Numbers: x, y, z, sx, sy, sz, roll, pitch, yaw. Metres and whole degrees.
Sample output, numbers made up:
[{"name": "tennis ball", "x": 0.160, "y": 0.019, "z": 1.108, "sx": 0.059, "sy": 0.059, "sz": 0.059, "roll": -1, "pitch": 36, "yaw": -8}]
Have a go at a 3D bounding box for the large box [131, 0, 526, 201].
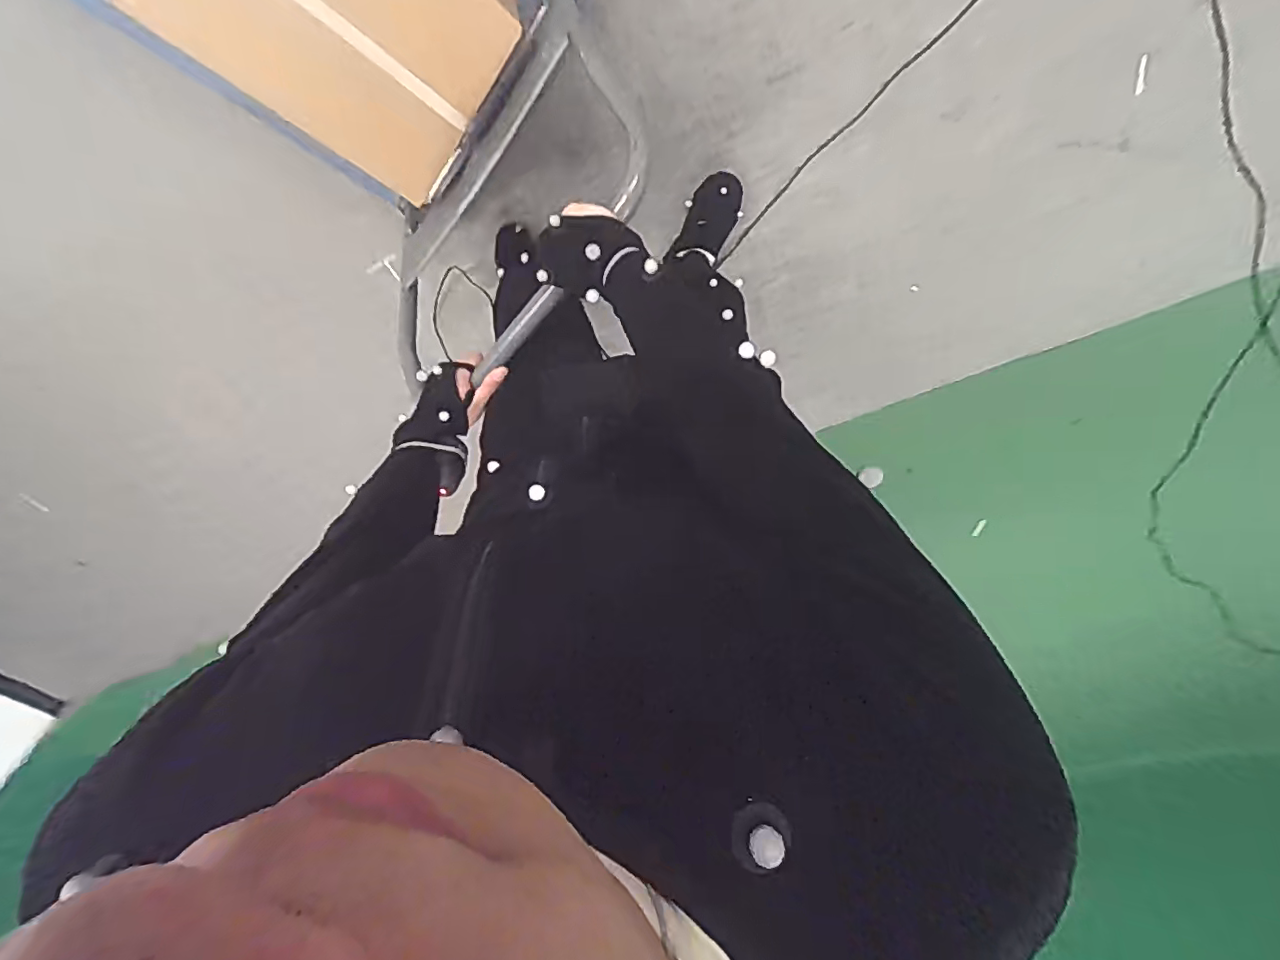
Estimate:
[{"name": "large box", "x": -0.425, "y": -0.732, "z": 0.819, "sx": 0.408, "sy": 0.320, "sz": 0.320, "roll": 25, "pitch": 128, "yaw": -37}]
